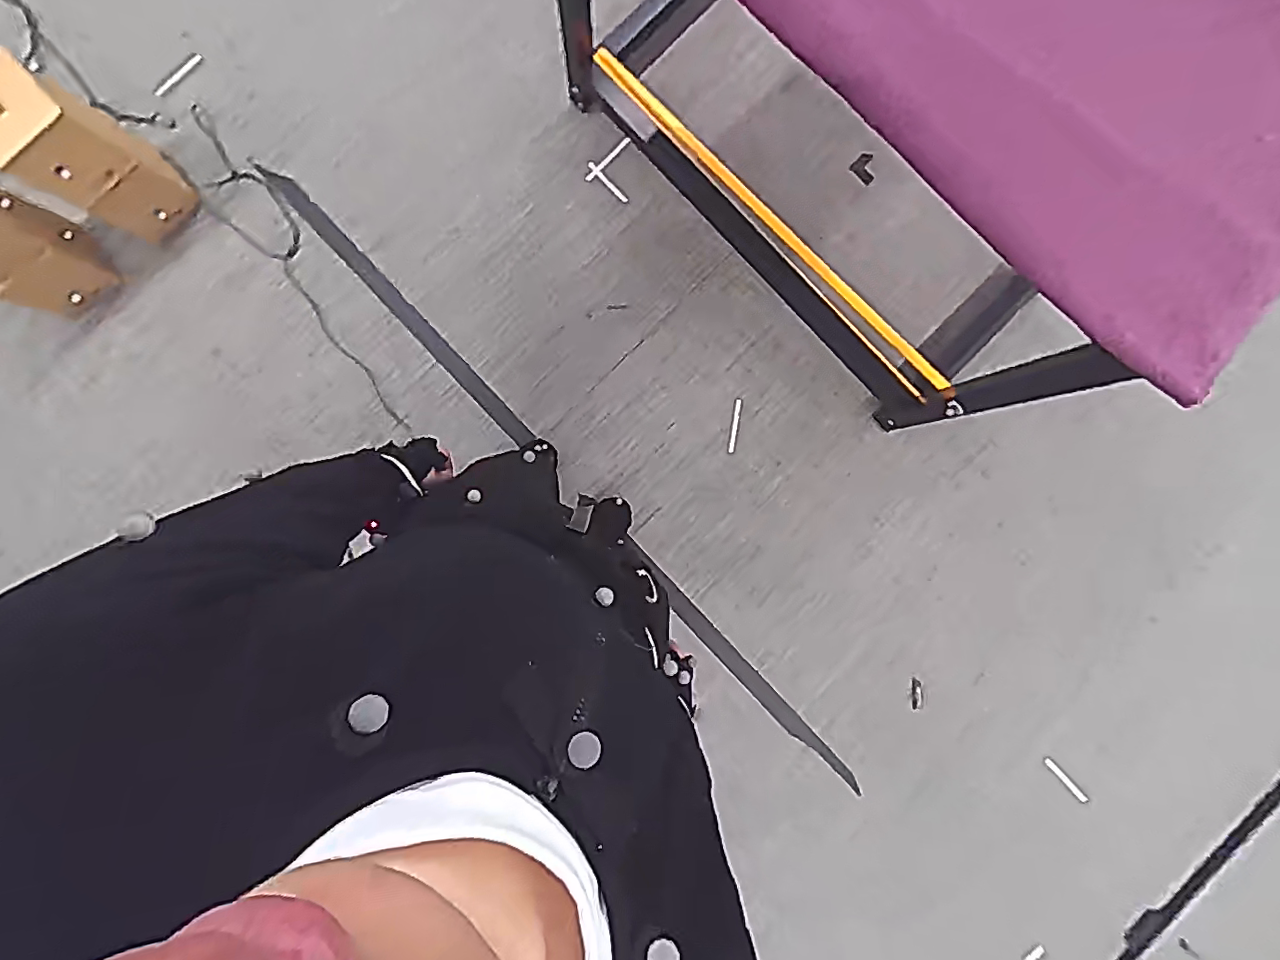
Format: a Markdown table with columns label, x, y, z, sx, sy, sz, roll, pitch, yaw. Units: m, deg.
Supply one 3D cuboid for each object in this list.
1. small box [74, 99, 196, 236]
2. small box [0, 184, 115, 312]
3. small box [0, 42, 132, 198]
| label | x | y | z | sx | sy | sz | roll | pitch | yaw |
| --- | --- | --- | --- | --- | --- | --- | --- | --- | --- |
| small box | -1.188 | -0.699 | 1.233 | 0.168 | 0.176 | 0.179 | -42 | 92 | 0 |
| small box | -1.377 | -0.514 | 1.226 | 0.168 | 0.176 | 0.179 | -37 | 92 | -2 |
| small box | -1.185 | -0.696 | 1.070 | 0.168 | 0.176 | 0.179 | -42 | 91 | -1 |
